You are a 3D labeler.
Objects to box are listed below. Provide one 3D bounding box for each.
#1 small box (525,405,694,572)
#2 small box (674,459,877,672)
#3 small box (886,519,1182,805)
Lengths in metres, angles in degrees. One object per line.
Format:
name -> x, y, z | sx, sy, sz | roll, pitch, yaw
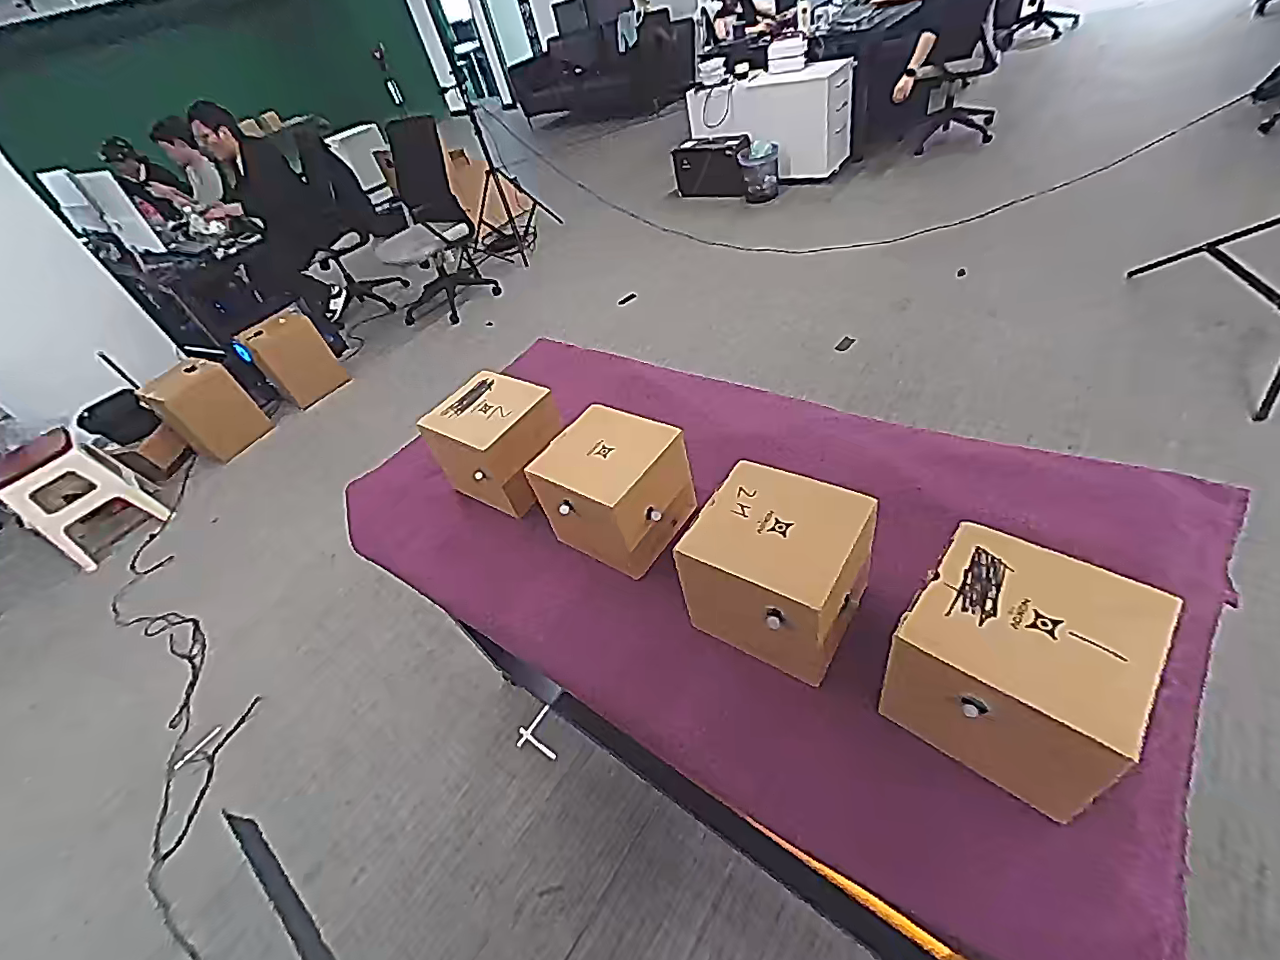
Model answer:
small box -> -0.036, 0.014, 0.827 | 0.179, 0.176, 0.168 | 20, 55, 34
small box -> 0.168, 0.106, 0.661 | 0.179, 0.176, 0.168 | 19, 52, 33
small box -> 0.362, 0.174, 0.527 | 0.179, 0.176, 0.168 | 25, 57, 36
